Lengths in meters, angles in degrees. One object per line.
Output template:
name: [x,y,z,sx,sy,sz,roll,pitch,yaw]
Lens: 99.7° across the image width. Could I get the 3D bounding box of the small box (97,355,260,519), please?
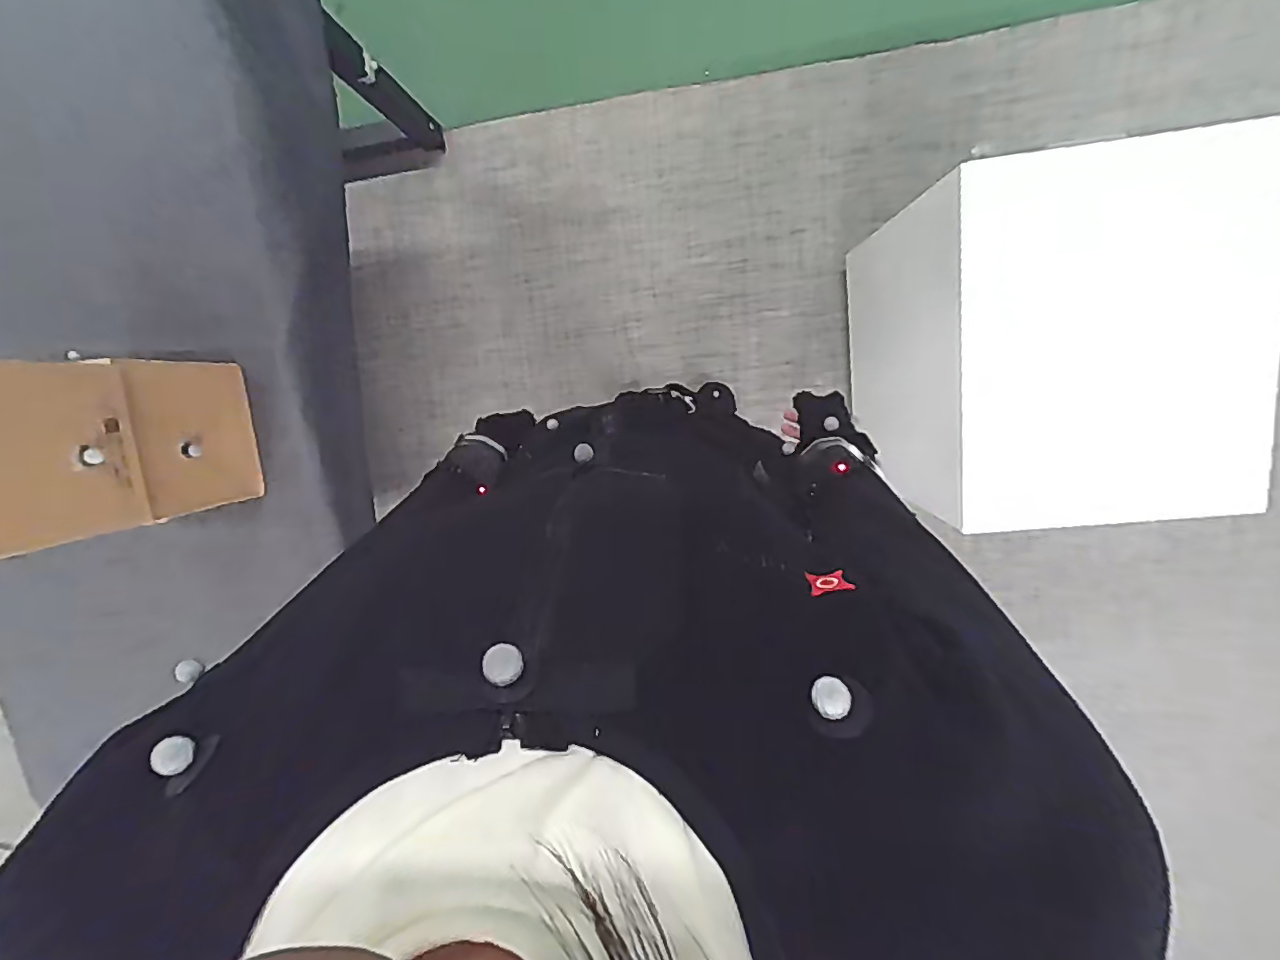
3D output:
small box: [-0.605,-0.057,0.656,0.168,0.176,0.179,-3,101,7]
